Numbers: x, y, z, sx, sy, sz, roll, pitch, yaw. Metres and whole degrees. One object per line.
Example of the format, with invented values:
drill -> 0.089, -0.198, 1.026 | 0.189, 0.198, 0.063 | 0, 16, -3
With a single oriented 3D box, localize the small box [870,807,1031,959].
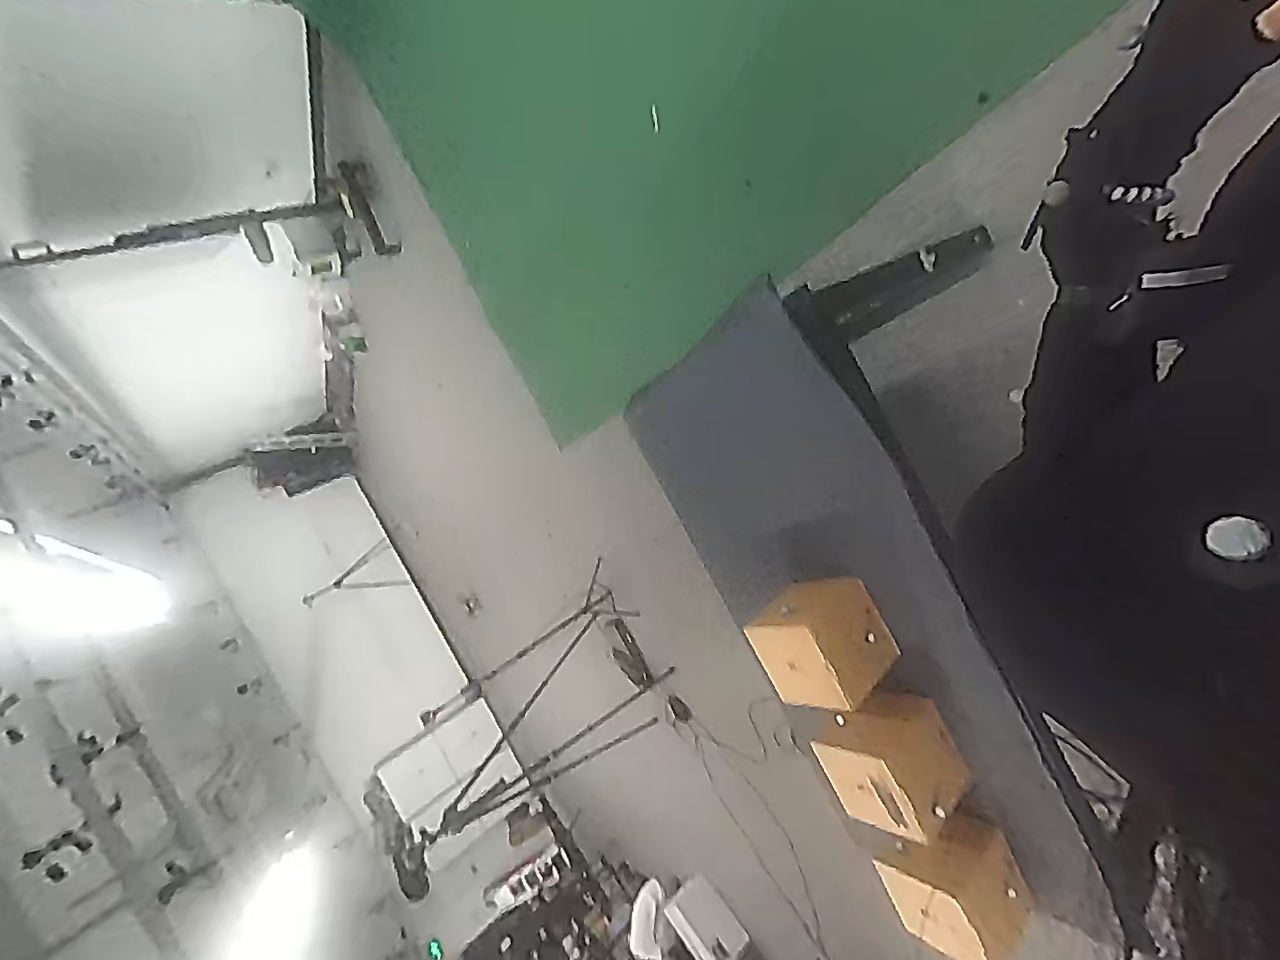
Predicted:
small box -> 0.578, 0.754, 1.009 | 0.179, 0.176, 0.168 | -22, 95, 59

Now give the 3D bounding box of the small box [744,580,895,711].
small box -> 0.337, 0.306, 1.020 | 0.168, 0.176, 0.179 | 62, 147, 1
